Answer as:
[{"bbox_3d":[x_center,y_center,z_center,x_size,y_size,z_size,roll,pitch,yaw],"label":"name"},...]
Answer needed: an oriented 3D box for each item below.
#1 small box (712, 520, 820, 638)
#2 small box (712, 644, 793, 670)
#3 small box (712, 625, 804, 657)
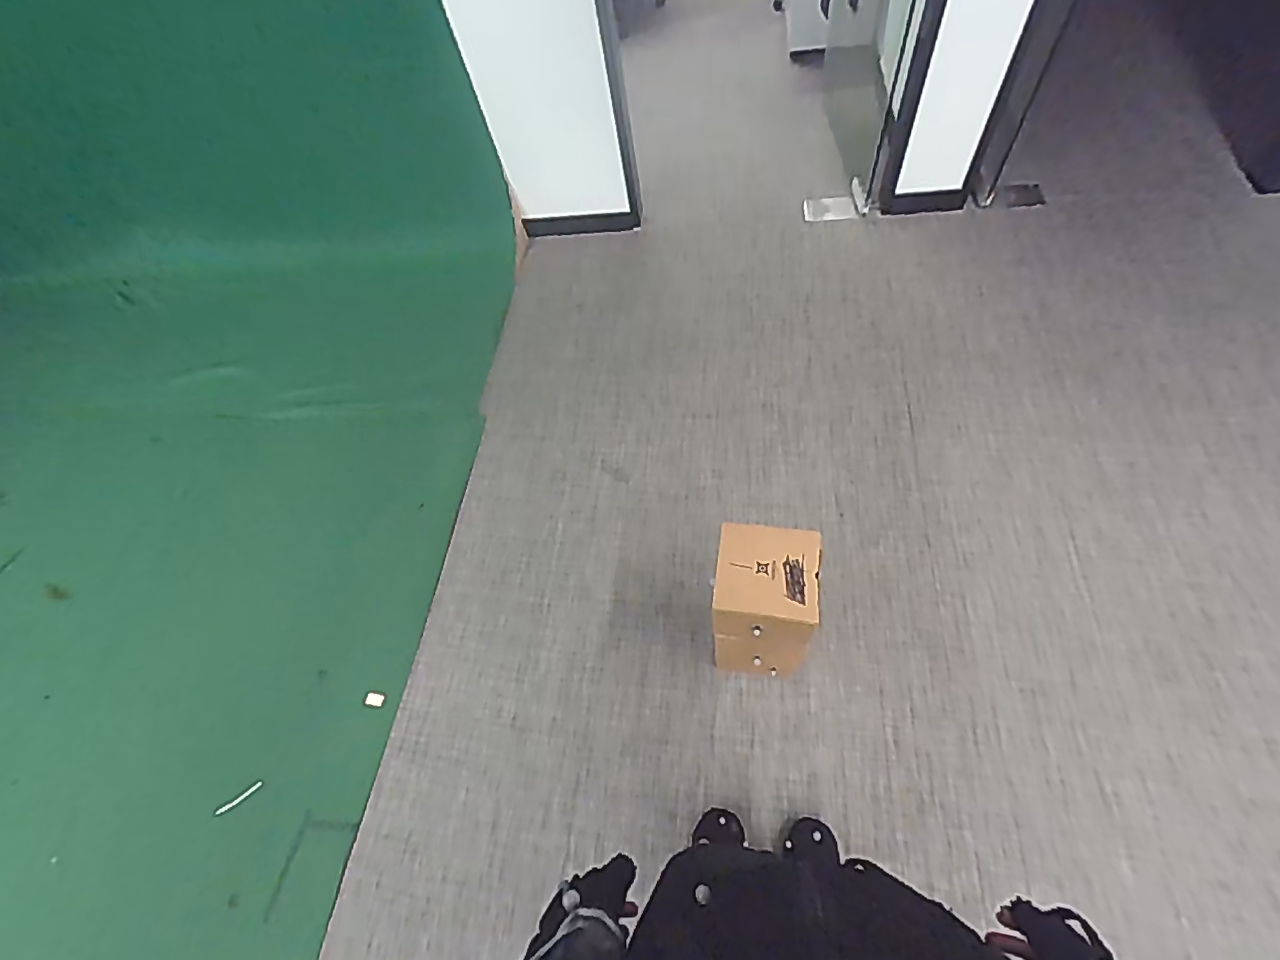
[{"bbox_3d":[0.228,0.189,1.007,0.179,0.176,0.168,3,61,9],"label":"small box"},{"bbox_3d":[0.269,0.349,1.291,0.179,0.176,0.168,2,61,12],"label":"small box"},{"bbox_3d":[0.249,0.271,1.148,0.179,0.176,0.168,5,61,11],"label":"small box"}]
